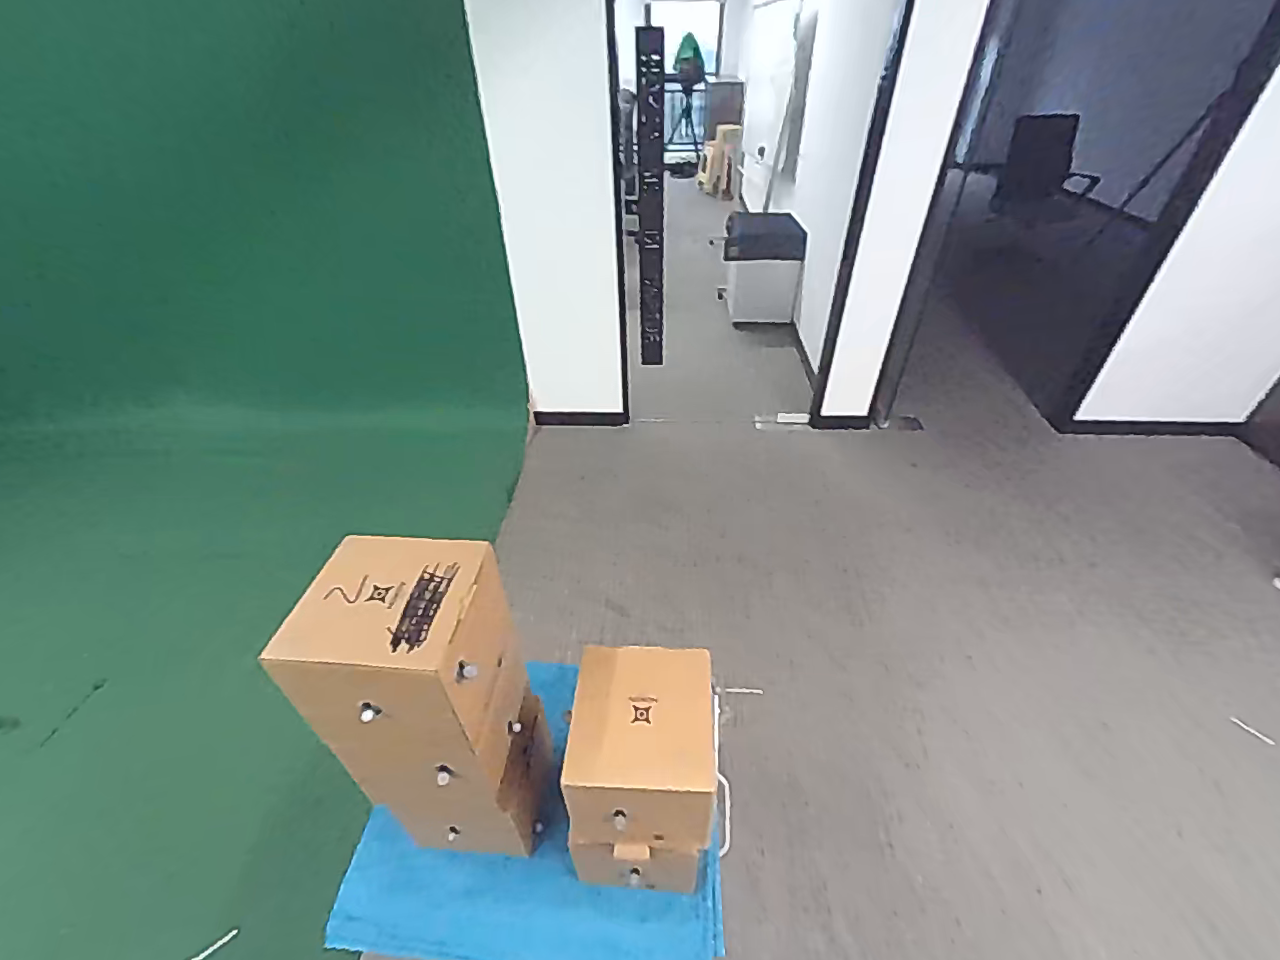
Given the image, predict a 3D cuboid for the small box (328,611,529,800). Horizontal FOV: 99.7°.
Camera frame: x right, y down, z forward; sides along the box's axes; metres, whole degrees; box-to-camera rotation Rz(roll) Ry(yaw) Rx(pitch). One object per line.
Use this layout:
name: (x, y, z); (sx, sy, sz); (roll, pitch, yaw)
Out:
small box: (-0.254, 0.295, 0.705); (0.179, 0.176, 0.168); (3, 39, 4)

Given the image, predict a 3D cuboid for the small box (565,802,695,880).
small box: (-0.002, 0.446, 0.777); (0.168, 0.176, 0.179); (3, 40, 4)

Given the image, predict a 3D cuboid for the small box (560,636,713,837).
small box: (0.004, 0.319, 0.675); (0.168, 0.176, 0.179); (1, 37, 3)

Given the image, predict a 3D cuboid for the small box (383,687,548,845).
small box: (-0.243, 0.422, 0.809); (0.179, 0.176, 0.168); (2, 39, 4)
